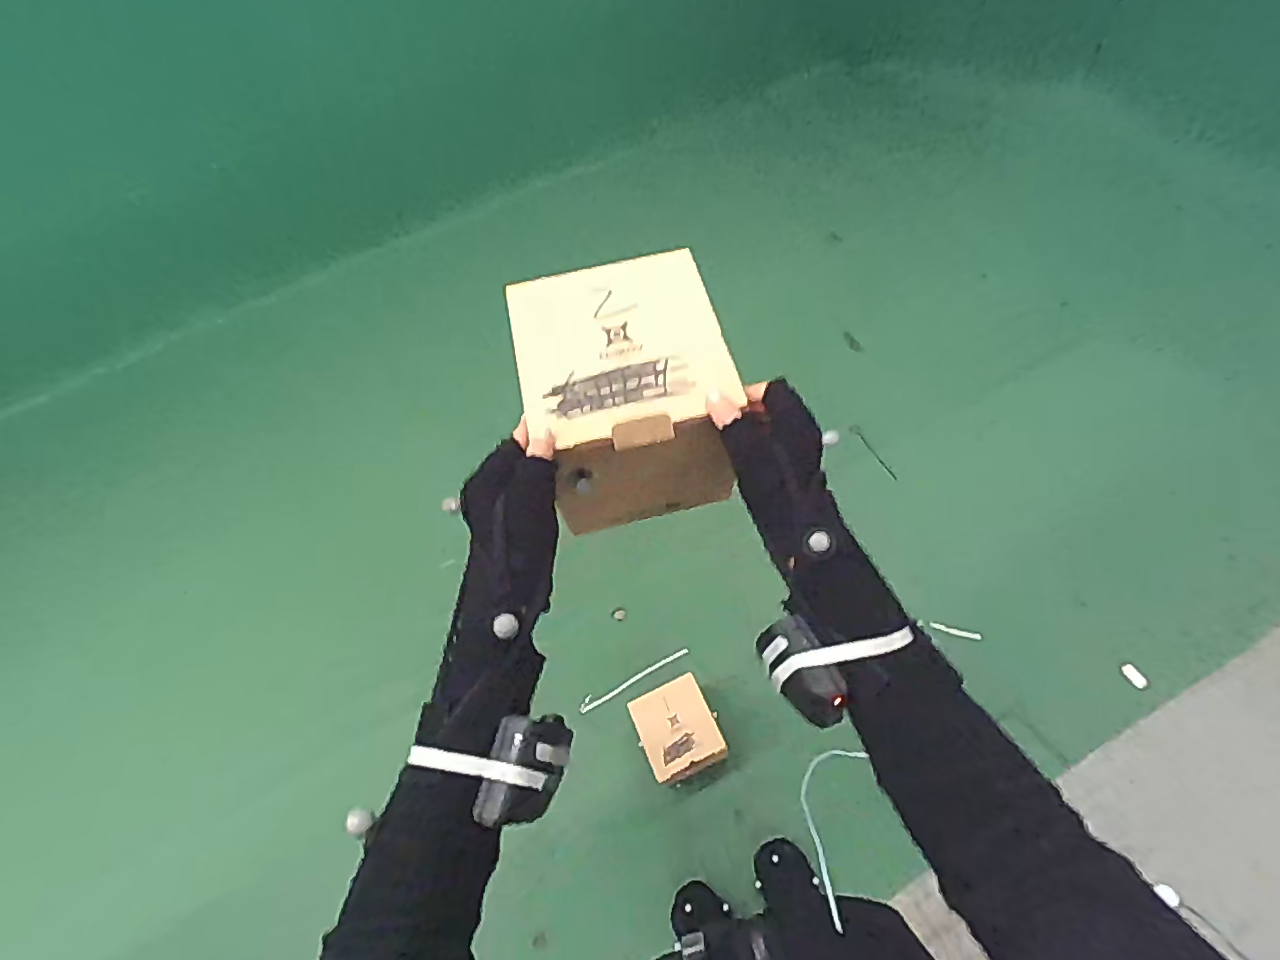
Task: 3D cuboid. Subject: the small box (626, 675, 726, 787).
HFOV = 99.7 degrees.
[{"bbox_3d":[0.087,0.583,1.249,0.168,0.176,0.179,-27,59,-8],"label":"small box"}]
